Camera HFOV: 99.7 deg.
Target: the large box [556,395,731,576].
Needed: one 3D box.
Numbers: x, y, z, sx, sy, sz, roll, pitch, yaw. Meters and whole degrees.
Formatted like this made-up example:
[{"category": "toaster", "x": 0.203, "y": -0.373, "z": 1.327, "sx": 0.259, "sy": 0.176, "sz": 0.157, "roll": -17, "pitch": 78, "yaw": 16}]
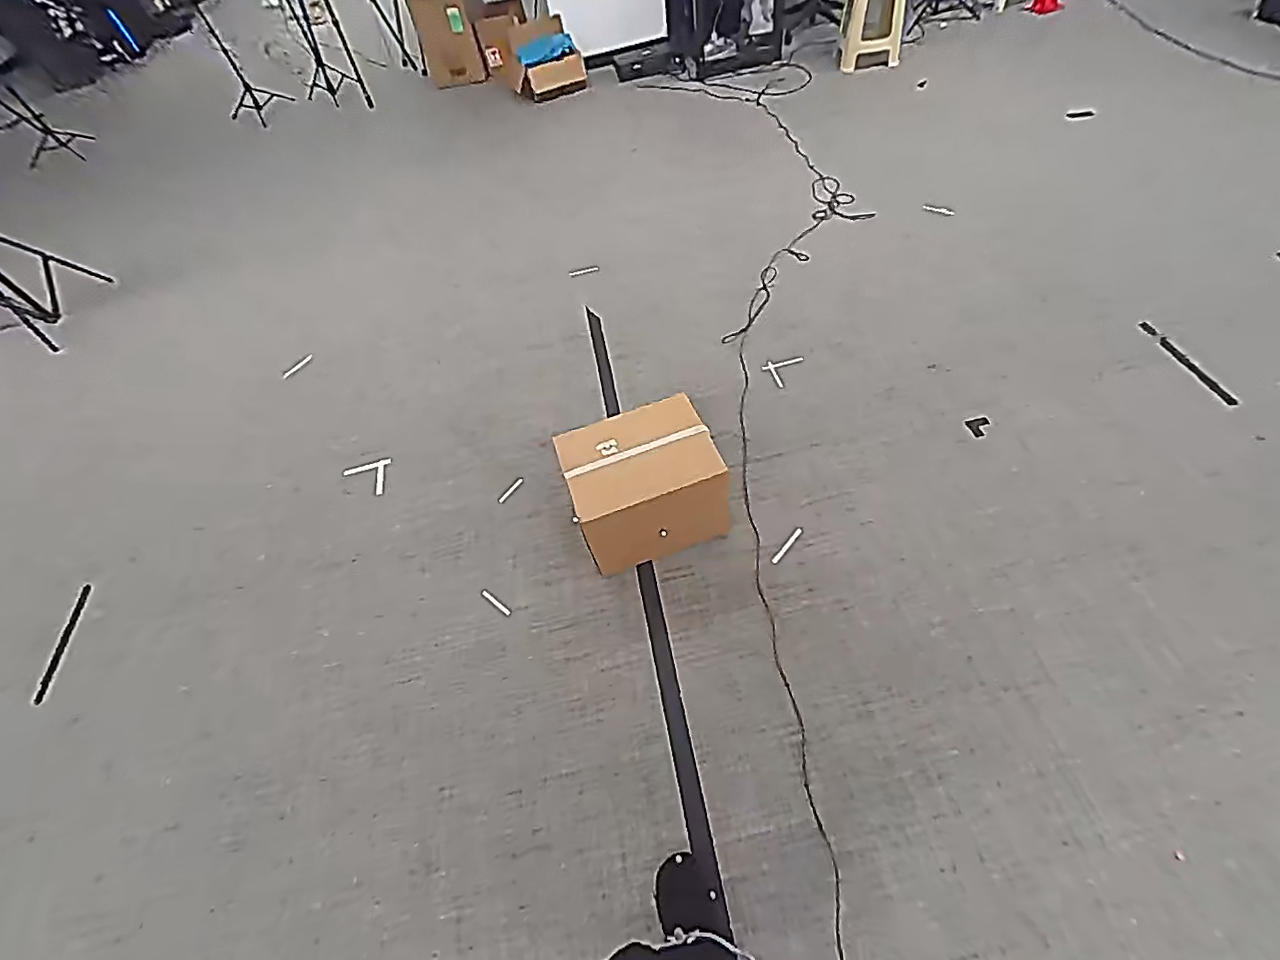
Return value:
[{"category": "large box", "x": 0.018, "y": 0.021, "z": 1.568, "sx": 0.408, "sy": 0.320, "sz": 0.320, "roll": -20, "pitch": 52, "yaw": -4}]
